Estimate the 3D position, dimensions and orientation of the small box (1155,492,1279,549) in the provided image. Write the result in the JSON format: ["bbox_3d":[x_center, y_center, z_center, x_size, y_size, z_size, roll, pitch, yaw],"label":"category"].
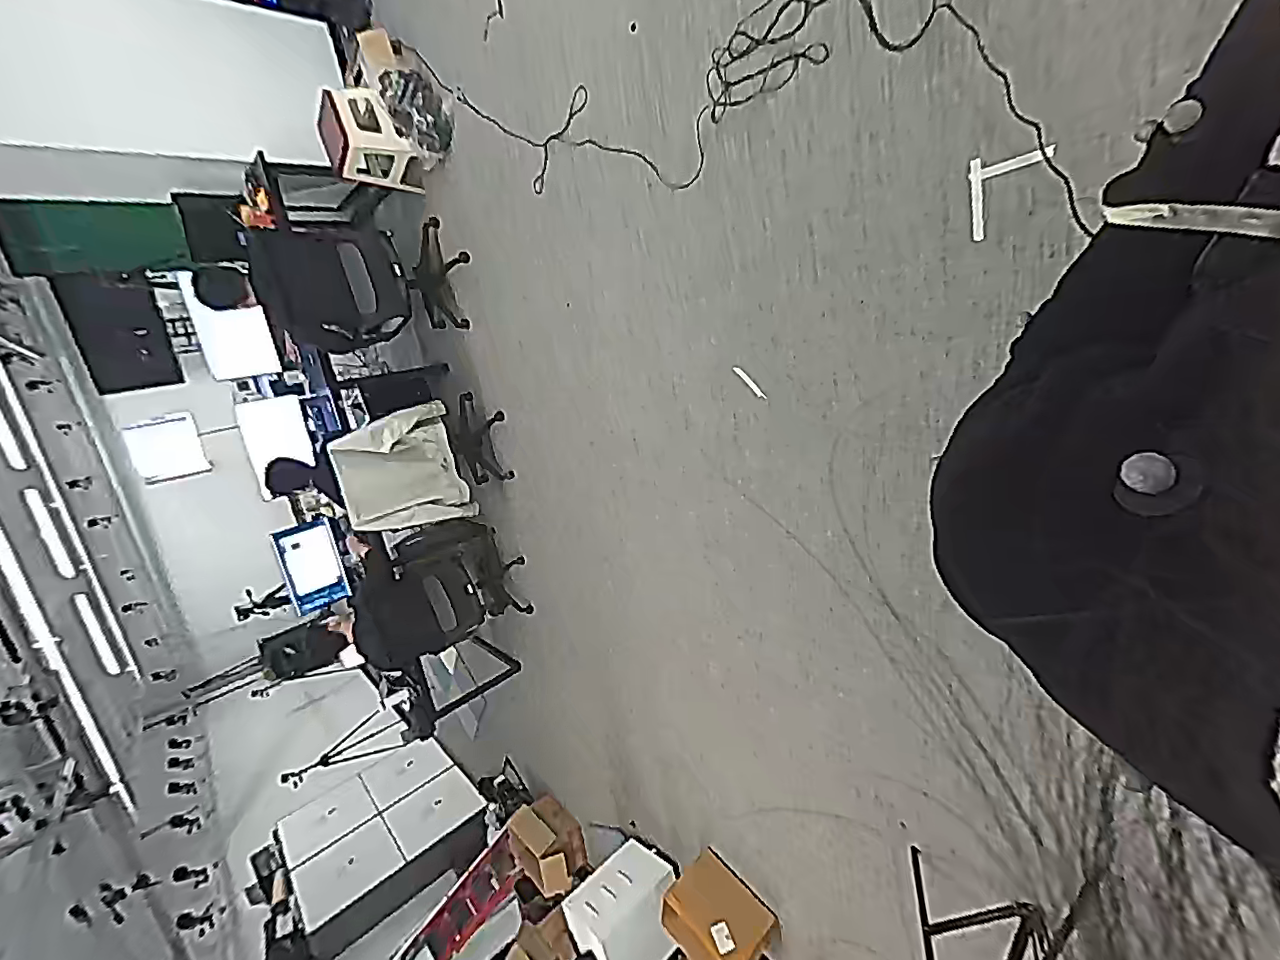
[{"bbox_3d":[1.123,0.128,1.043,0.179,0.176,0.168,7,112,47],"label":"small box"}]
